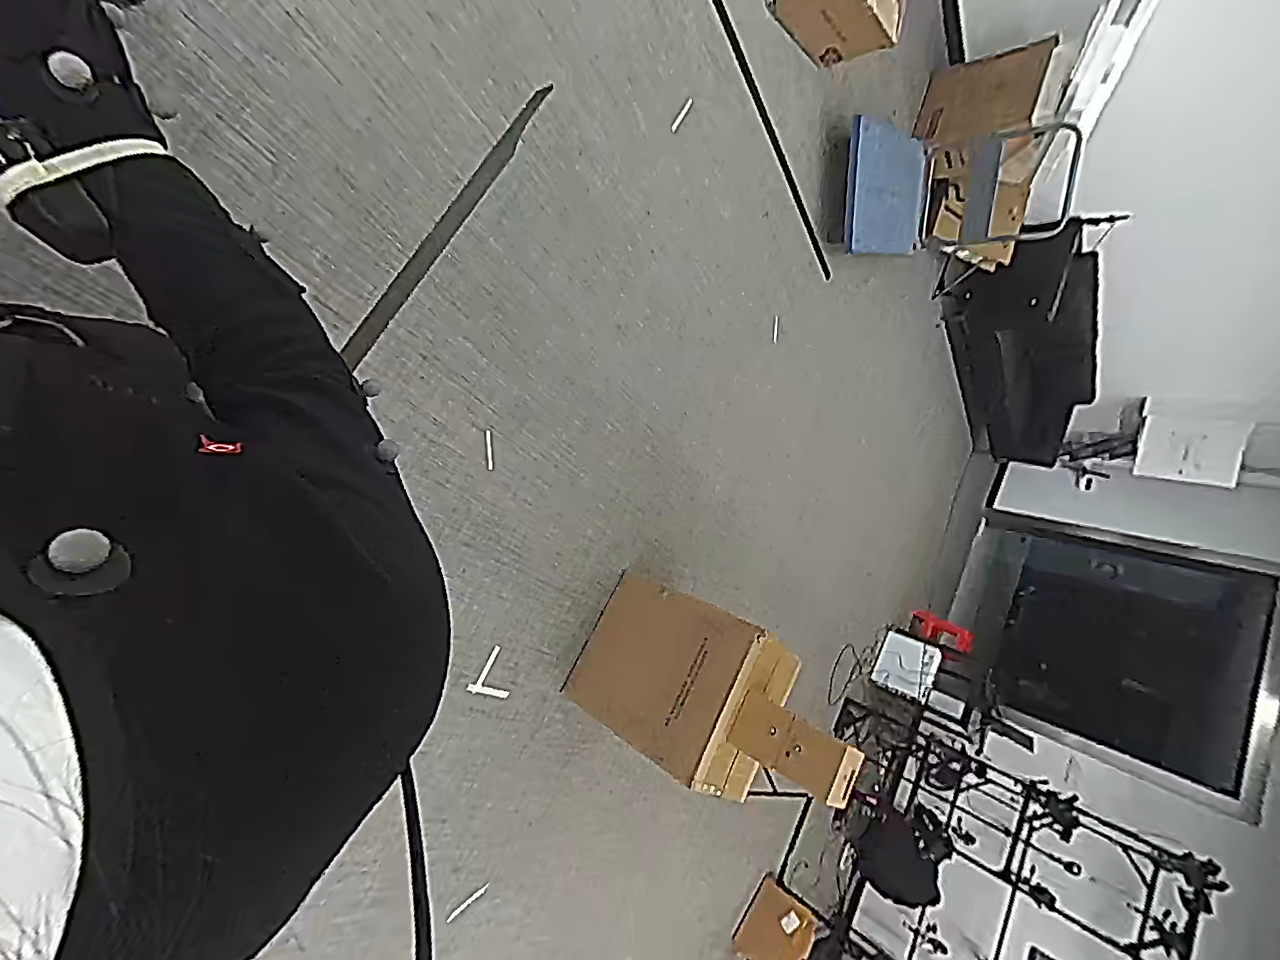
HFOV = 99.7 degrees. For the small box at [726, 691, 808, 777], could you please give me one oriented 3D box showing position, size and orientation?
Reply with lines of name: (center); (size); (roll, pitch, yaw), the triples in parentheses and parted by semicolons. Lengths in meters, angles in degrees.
small box: (0.396, 0.791, 1.693); (0.168, 0.176, 0.179); (43, 70, -43)
